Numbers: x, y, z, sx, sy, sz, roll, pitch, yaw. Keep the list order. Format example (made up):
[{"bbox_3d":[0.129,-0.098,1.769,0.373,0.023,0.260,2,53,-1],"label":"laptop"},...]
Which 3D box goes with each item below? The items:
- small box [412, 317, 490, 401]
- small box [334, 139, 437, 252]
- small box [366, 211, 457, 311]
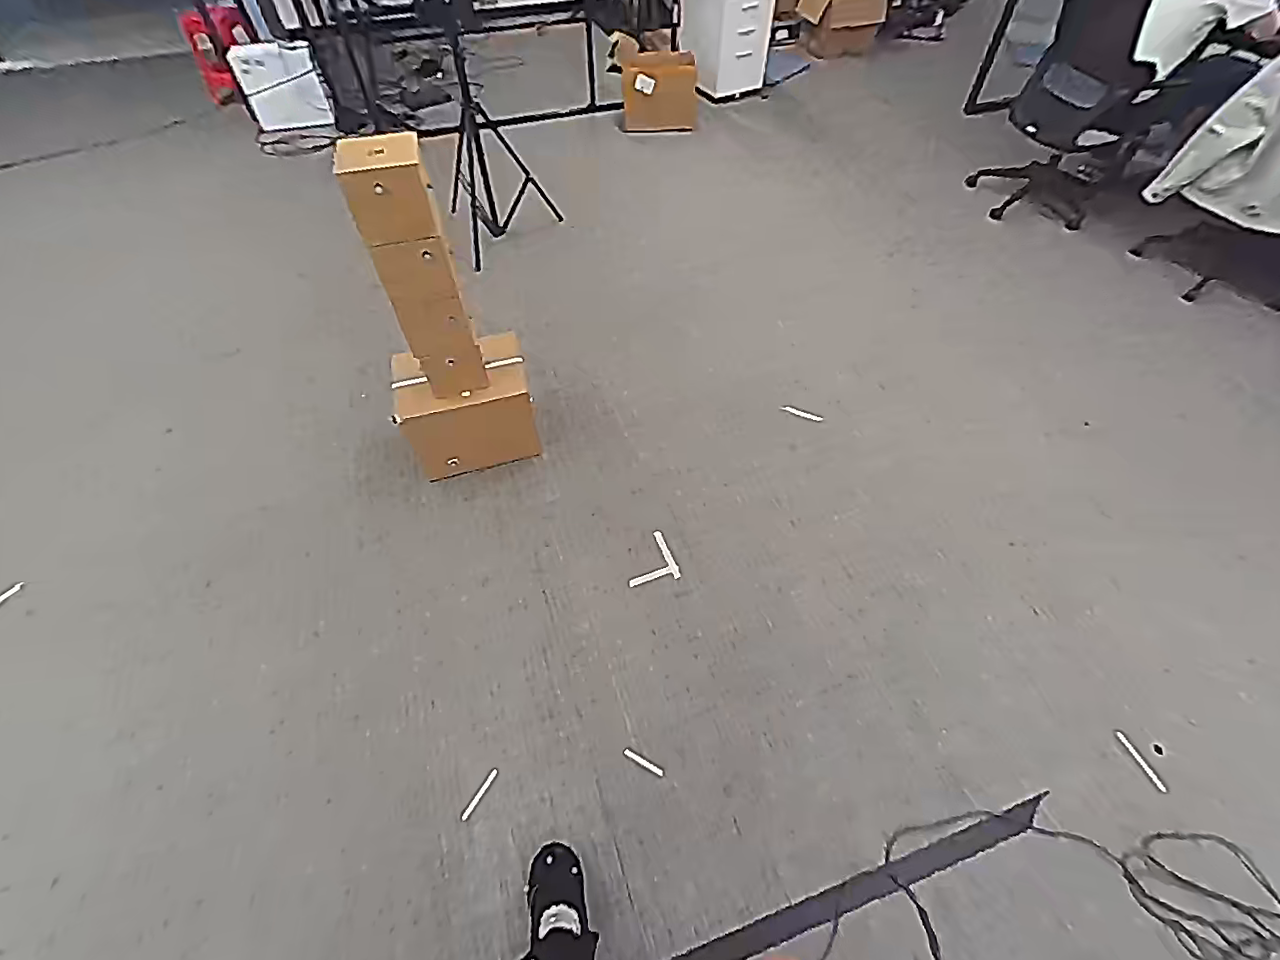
[{"bbox_3d":[-0.574,-0.365,1.651,0.179,0.176,0.168,-16,56,-12],"label":"small box"},{"bbox_3d":[-0.581,-0.658,1.258,0.179,0.176,0.168,-13,55,-9],"label":"small box"},{"bbox_3d":[-0.579,-0.561,1.388,0.179,0.176,0.168,-13,55,-9],"label":"small box"}]
